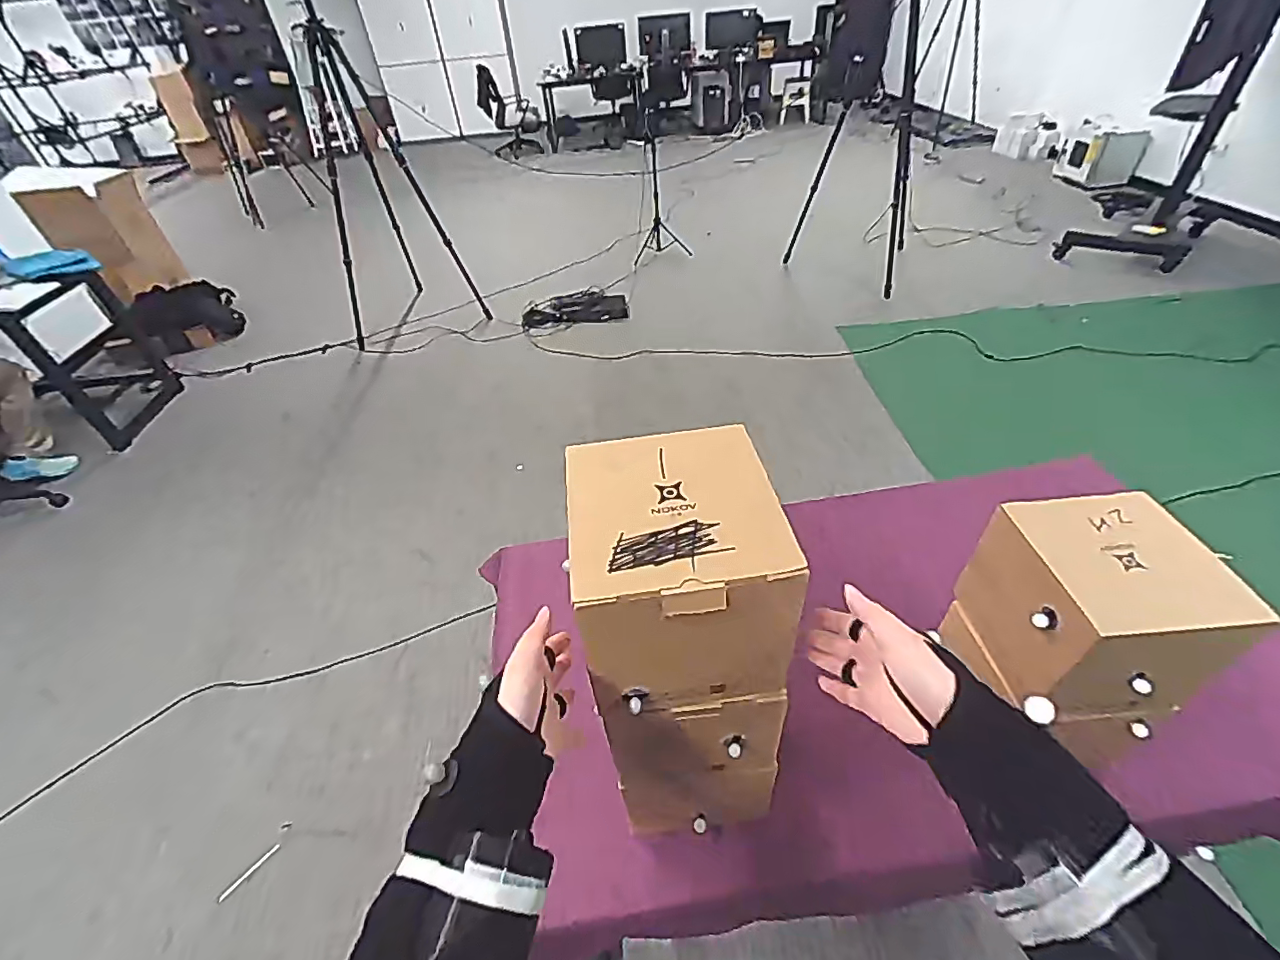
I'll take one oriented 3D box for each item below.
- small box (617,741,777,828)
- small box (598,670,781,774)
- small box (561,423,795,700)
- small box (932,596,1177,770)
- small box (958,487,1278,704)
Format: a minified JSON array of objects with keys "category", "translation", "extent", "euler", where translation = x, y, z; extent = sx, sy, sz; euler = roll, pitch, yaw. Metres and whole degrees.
[{"category":"small box","translation":[0.061,0.323,0.693],"extent":[0.179,0.176,0.168],"euler":[-7,42,-1]},{"category":"small box","translation":[0.048,0.199,0.587],"extent":[0.168,0.176,0.179],"euler":[-6,41,0]},{"category":"small box","translation":[0.026,0.075,0.481],"extent":[0.168,0.176,0.179],"euler":[-8,41,-2]},{"category":"small box","translation":[0.509,0.257,0.705],"extent":[0.179,0.176,0.168],"euler":[-7,42,0]},{"category":"small box","translation":[0.493,0.132,0.598],"extent":[0.168,0.176,0.179],"euler":[-5,42,1]}]
